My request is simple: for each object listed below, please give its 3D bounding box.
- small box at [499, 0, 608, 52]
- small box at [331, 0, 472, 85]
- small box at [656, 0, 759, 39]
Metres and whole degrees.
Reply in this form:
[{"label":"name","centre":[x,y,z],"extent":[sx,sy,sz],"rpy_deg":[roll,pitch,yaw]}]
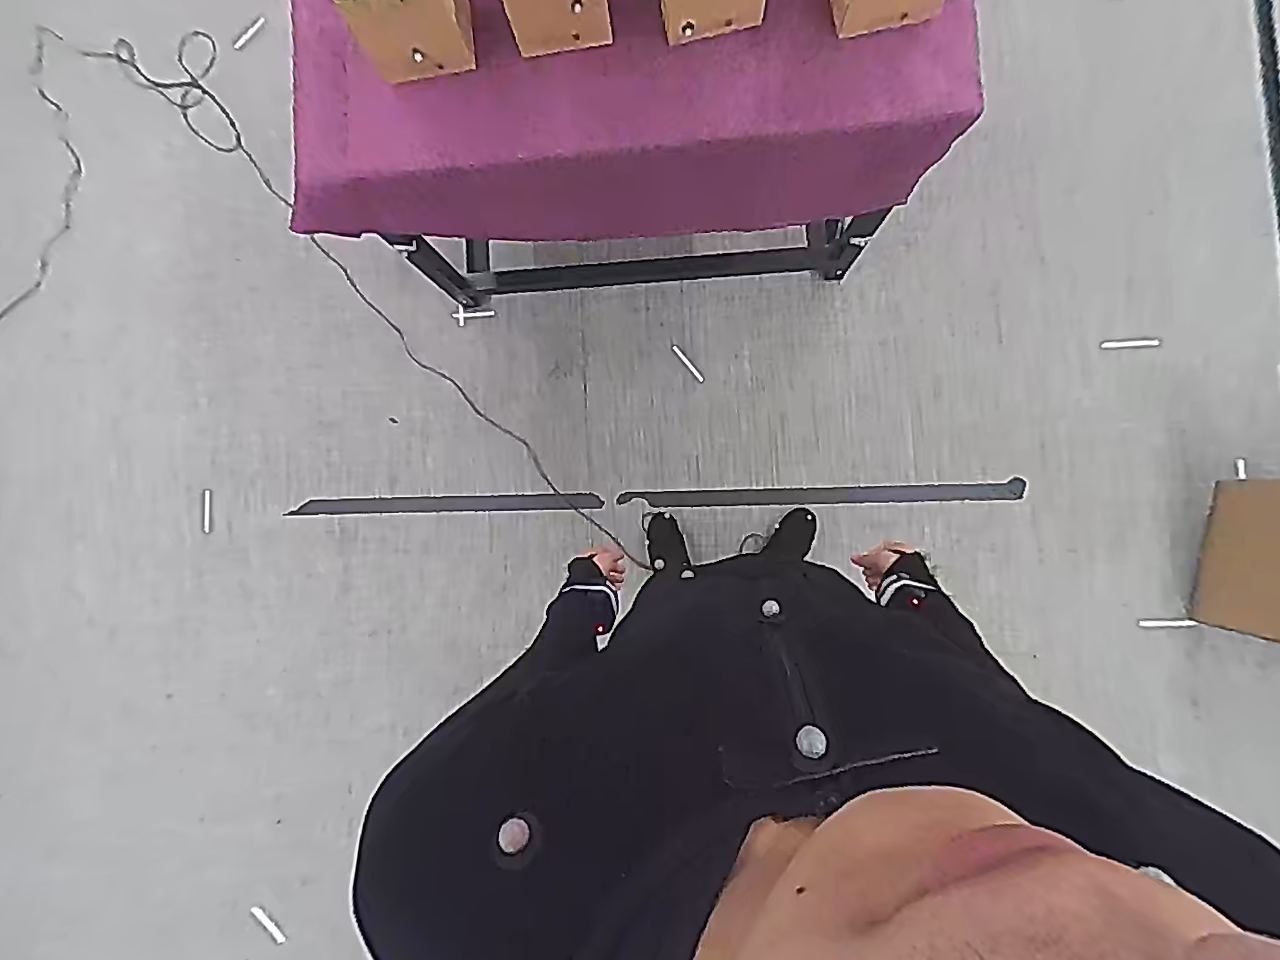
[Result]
[{"label":"small box","centre":[-0.149,-0.850,0.891],"extent":[0.168,0.176,0.179],"rpy_deg":[-5,87,4]},{"label":"small box","centre":[-0.396,-0.818,0.907],"extent":[0.168,0.176,0.179],"rpy_deg":[-7,87,5]},{"label":"small box","centre":[0.103,-0.860,0.869],"extent":[0.168,0.176,0.179],"rpy_deg":[-11,86,4]}]
